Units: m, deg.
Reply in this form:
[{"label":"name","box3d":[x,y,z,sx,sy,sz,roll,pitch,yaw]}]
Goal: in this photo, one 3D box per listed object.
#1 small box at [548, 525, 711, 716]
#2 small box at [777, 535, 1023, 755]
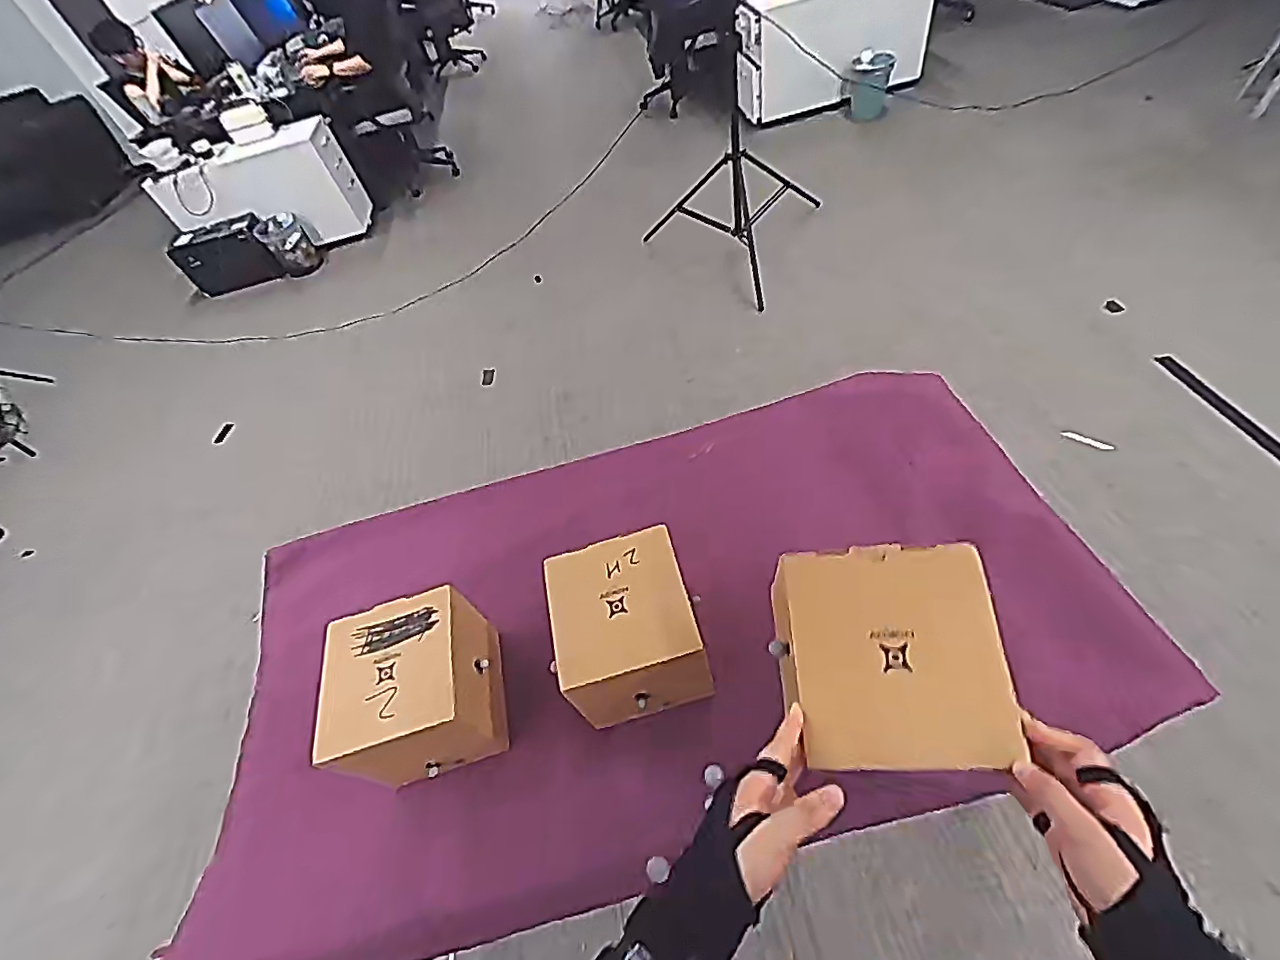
[{"label":"small box","box3d":[-0.010,0.191,0.708,0.168,0.176,0.179,-16,51,0]},{"label":"small box","box3d":[0.228,0.163,0.529,0.168,0.176,0.179,-5,68,9]}]
